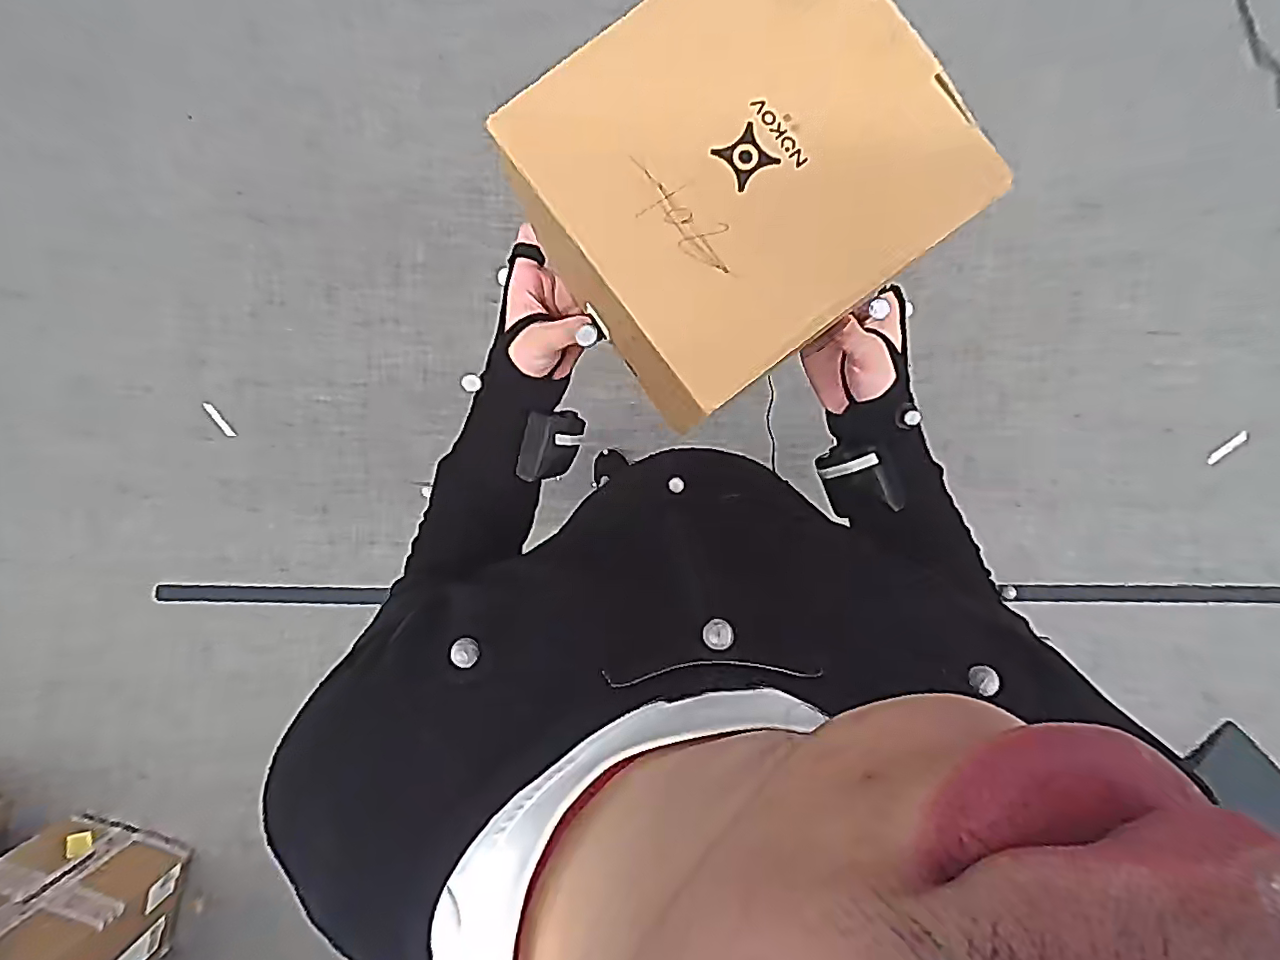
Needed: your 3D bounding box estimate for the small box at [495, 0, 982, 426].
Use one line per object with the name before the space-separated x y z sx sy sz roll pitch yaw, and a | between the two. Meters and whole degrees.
small box | 0.045 -0.152 0.332 0.179 0.176 0.168 -37 90 0
